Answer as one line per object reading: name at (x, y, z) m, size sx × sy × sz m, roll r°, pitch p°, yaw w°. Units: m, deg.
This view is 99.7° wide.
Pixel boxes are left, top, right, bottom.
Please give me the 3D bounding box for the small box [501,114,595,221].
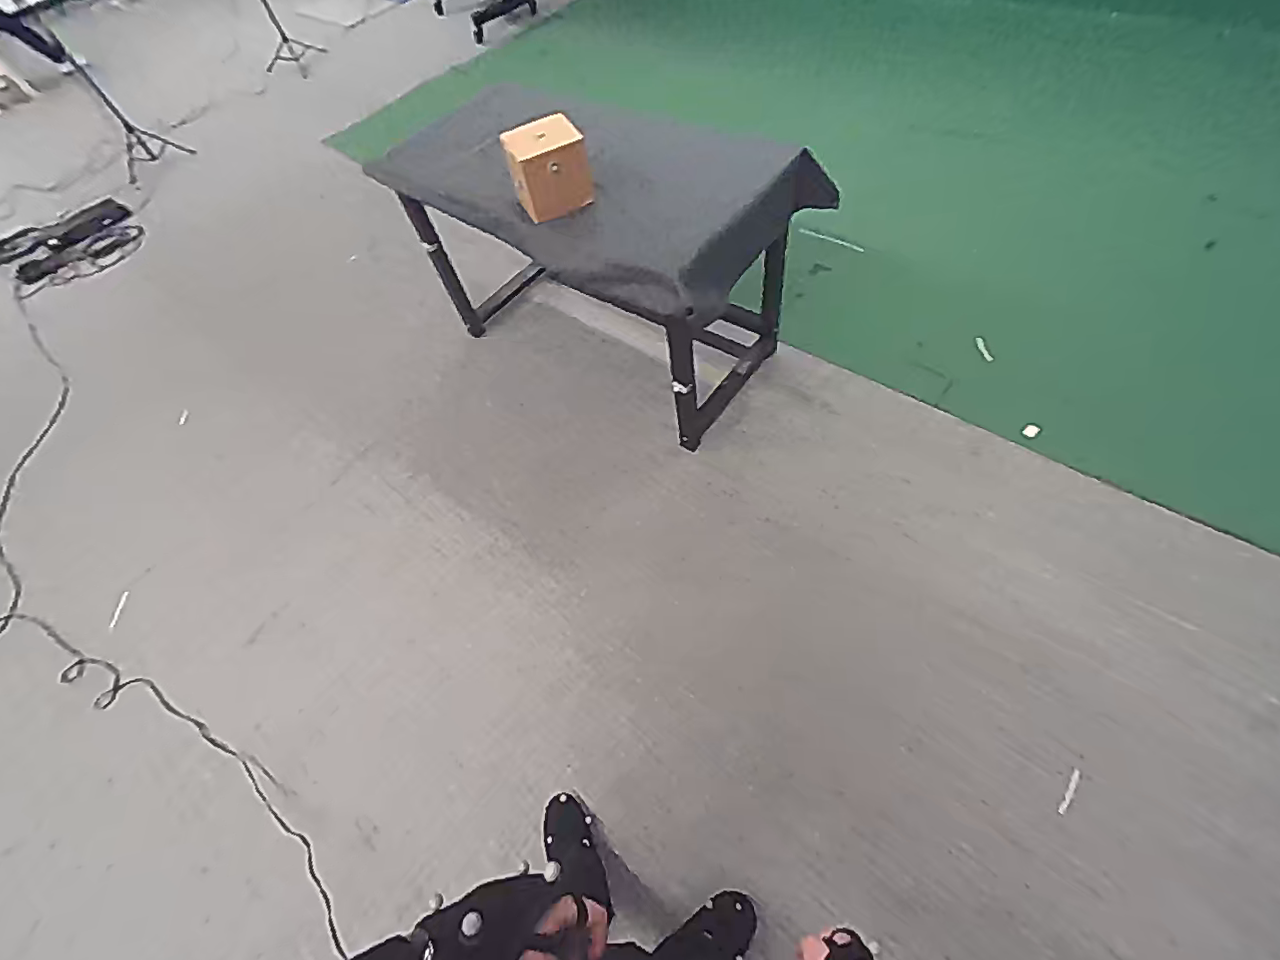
small box at (-0.235, -0.813, 1.415) m, size 0.179 × 0.176 × 0.168 m, roll -25°, pitch 58°, yaw -9°
